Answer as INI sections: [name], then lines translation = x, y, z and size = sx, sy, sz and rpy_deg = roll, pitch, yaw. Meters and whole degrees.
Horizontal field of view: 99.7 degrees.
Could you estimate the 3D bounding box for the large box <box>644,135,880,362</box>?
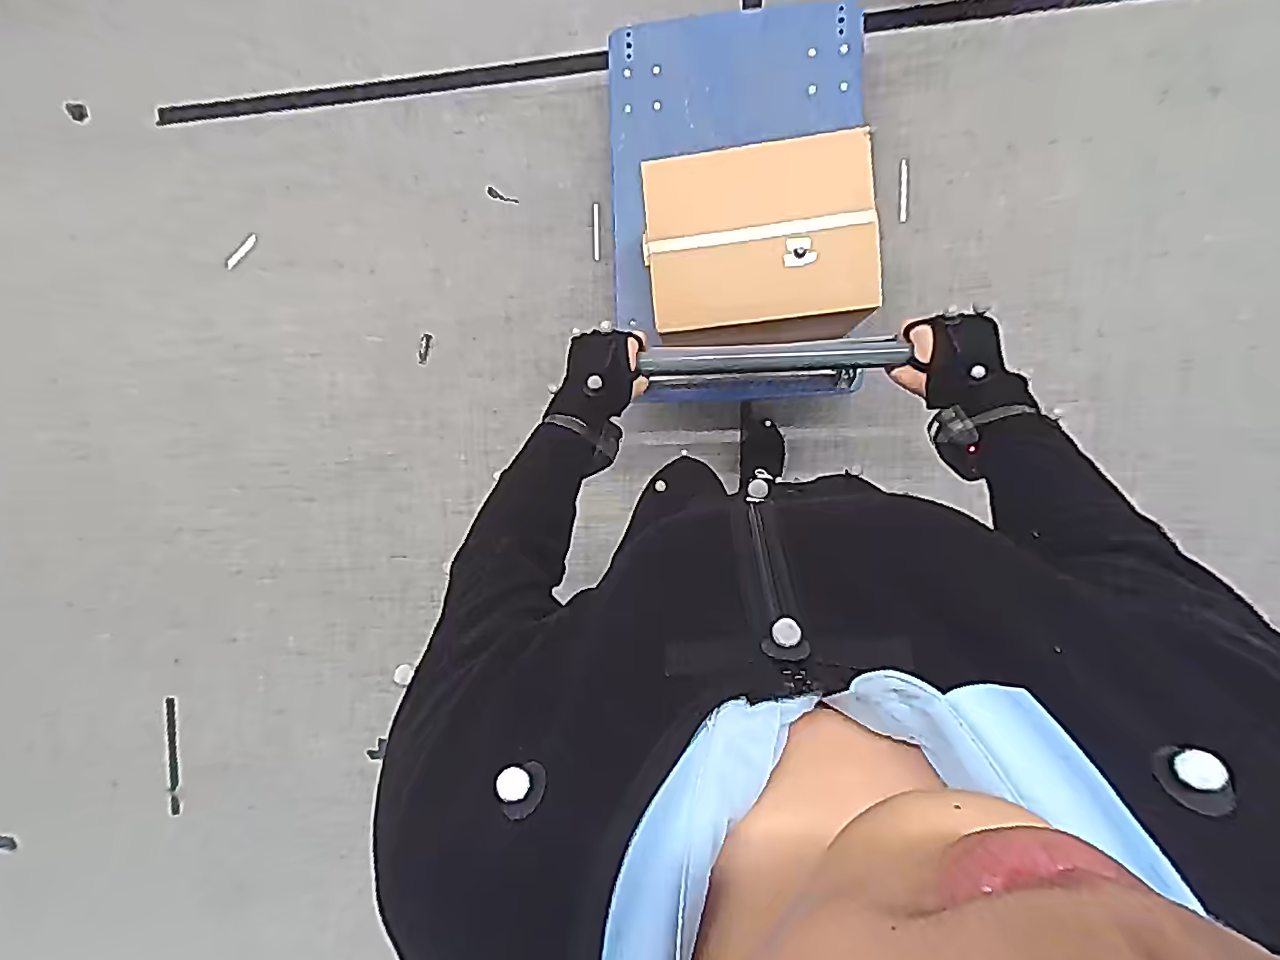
[large box]
translation = 0.232, -0.446, 1.129
size = 0.408, 0.320, 0.320
rpy_deg = -5, 93, 6
